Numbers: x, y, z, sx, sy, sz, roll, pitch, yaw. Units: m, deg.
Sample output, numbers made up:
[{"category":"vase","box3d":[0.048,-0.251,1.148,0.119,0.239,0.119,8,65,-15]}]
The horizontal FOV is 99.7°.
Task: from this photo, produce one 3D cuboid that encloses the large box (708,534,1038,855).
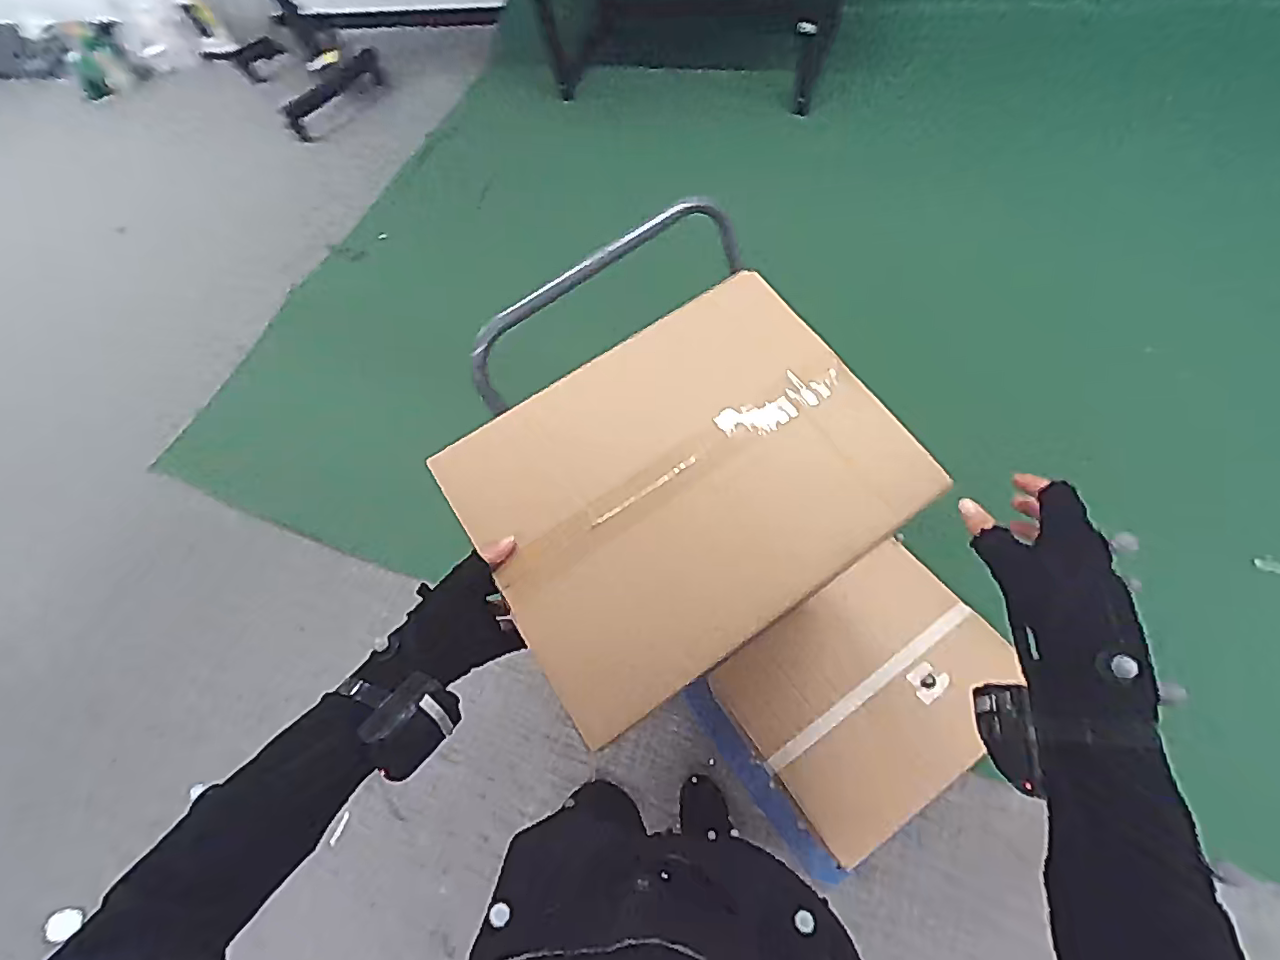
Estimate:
[{"category":"large box","box3d":[0.376,0.379,0.970,0.408,0.320,0.320,-34,61,-9]}]
